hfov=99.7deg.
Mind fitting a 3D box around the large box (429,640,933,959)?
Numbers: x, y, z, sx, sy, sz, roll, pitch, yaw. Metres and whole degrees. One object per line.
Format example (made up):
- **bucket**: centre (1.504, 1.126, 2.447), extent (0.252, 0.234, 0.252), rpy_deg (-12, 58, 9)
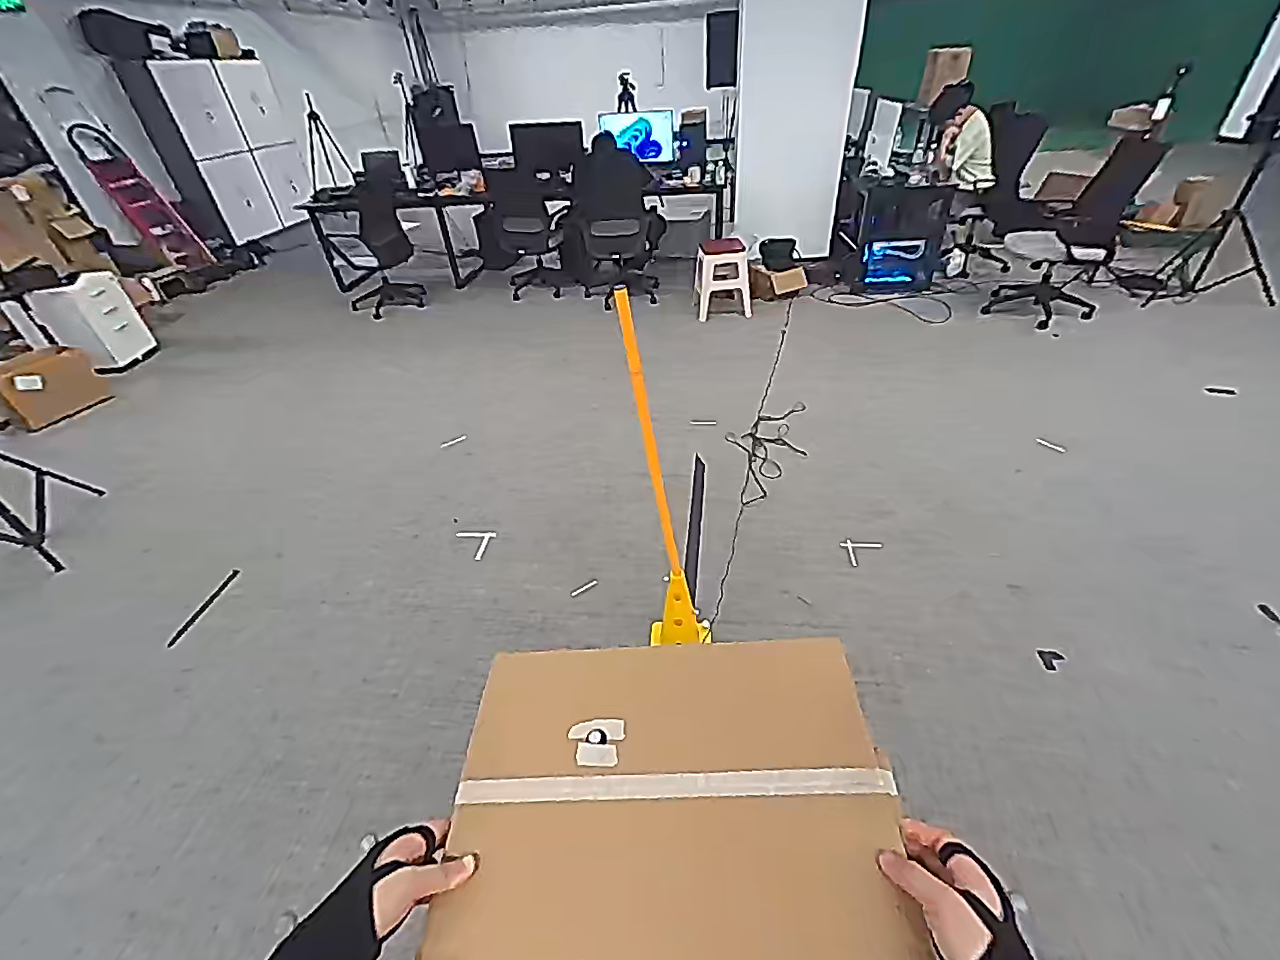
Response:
- **large box**: centre (0.048, 0.414, 0.609), extent (0.408, 0.320, 0.320), rpy_deg (-6, 37, 7)
